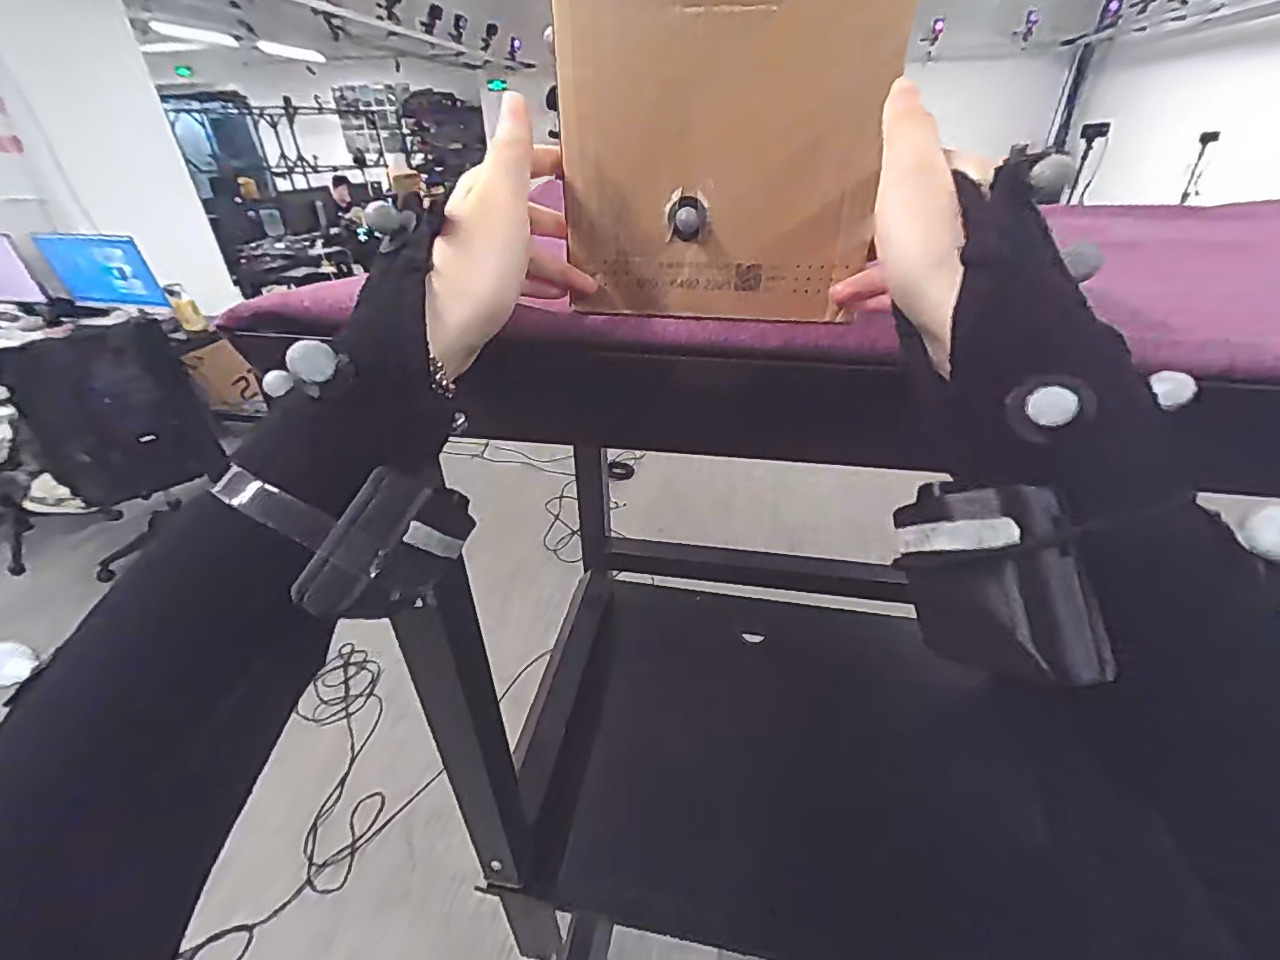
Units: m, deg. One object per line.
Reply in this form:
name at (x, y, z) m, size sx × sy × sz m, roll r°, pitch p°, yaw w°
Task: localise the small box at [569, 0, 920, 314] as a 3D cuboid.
small box at (0.053, -0.215, 0.346) m, size 0.168 × 0.176 × 0.179 m, roll 4°, pitch 32°, yaw 6°
